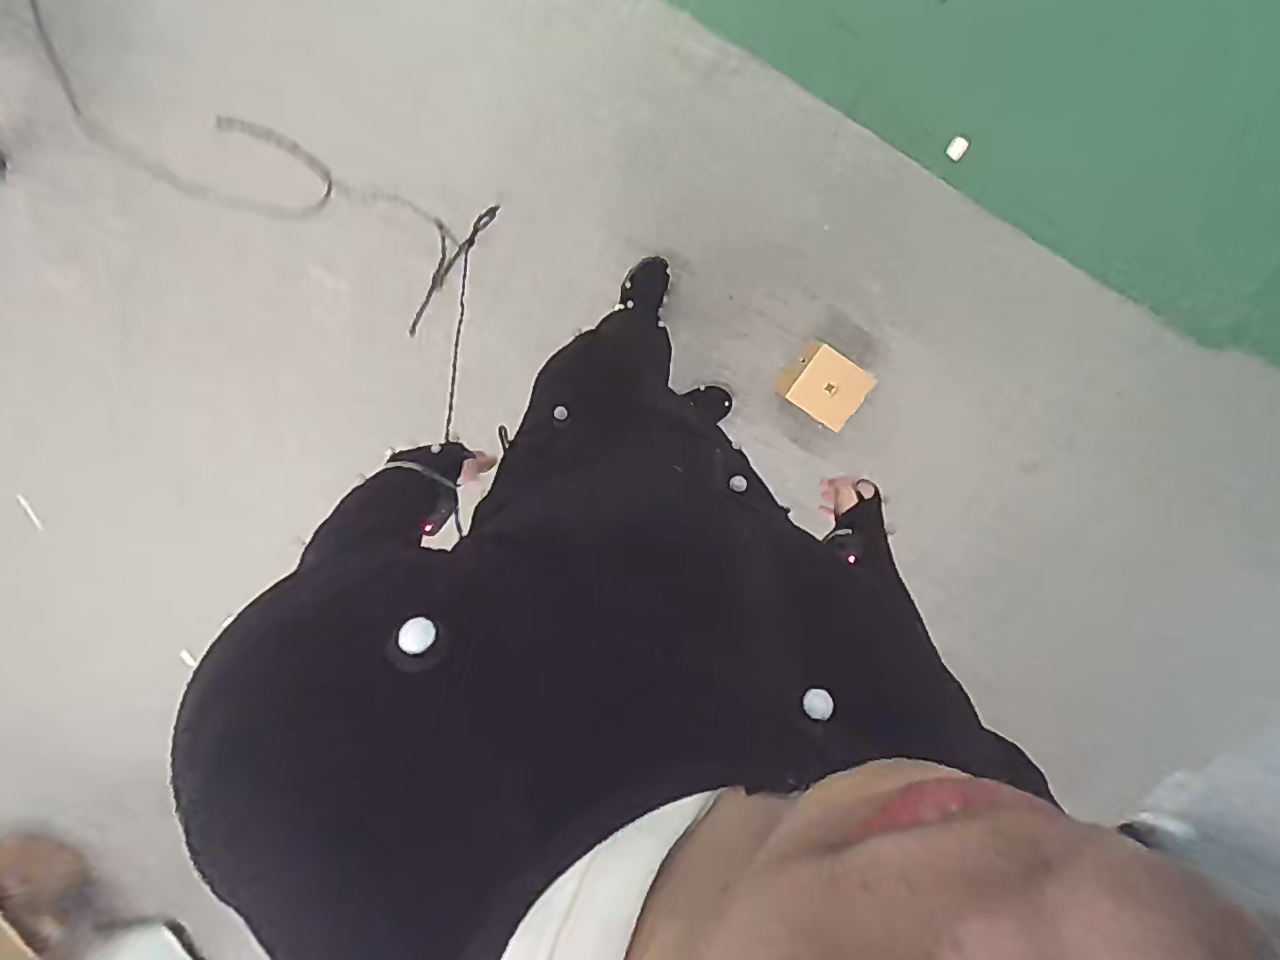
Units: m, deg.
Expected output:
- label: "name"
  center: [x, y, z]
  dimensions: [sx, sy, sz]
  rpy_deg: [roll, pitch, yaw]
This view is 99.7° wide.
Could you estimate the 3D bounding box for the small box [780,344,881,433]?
- label: "small box"
  center: [0.501, -0.253, 1.457]
  dimensions: [0.179, 0.176, 0.168]
  rpy_deg: [33, 107, -7]
